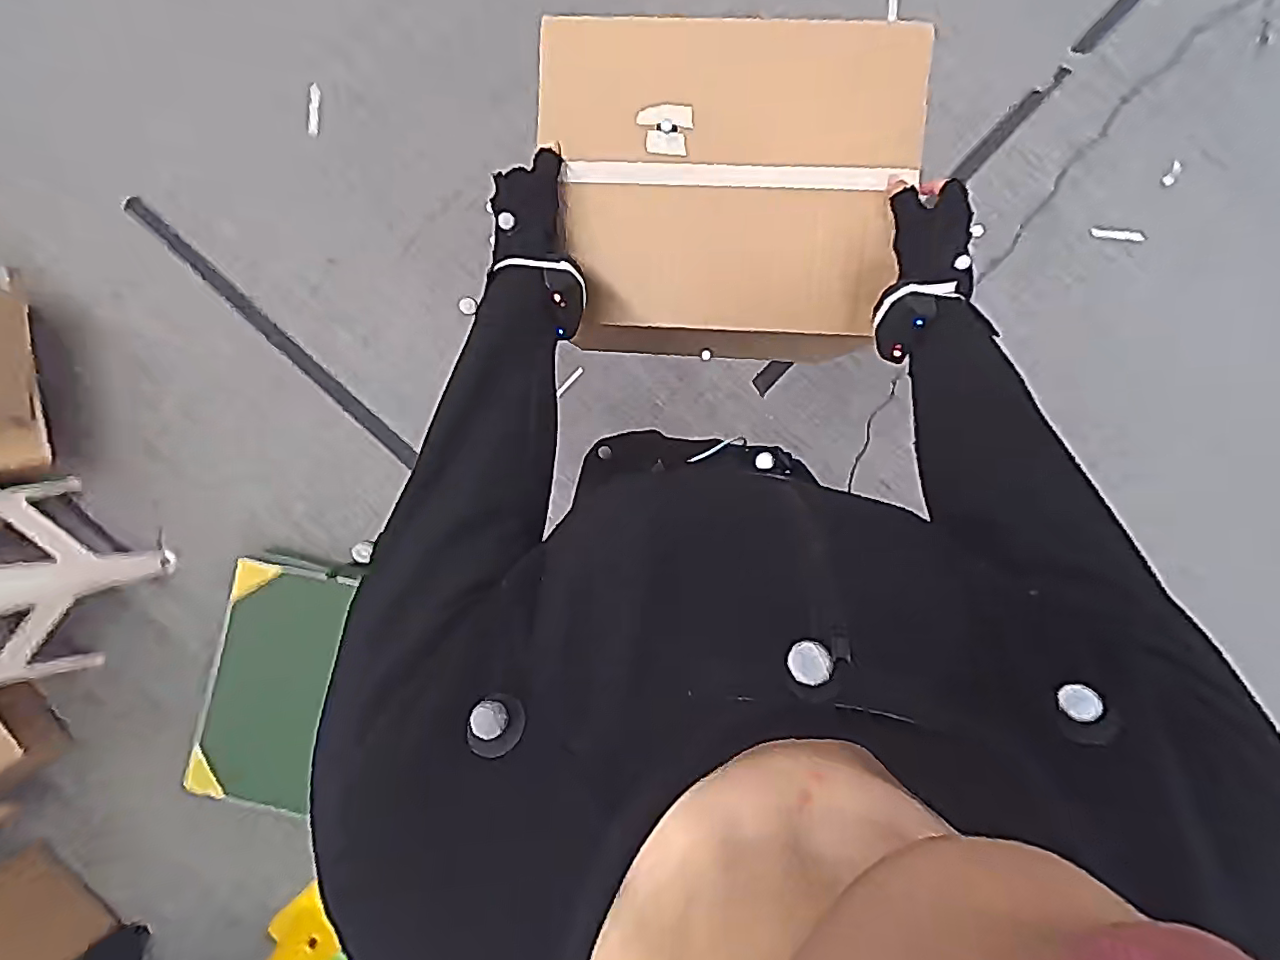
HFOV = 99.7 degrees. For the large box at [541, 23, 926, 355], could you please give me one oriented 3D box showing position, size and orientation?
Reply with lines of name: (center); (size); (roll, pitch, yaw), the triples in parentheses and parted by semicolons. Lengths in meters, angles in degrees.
large box: (0.103, -0.346, 0.735); (0.408, 0.320, 0.320); (4, 97, 3)
